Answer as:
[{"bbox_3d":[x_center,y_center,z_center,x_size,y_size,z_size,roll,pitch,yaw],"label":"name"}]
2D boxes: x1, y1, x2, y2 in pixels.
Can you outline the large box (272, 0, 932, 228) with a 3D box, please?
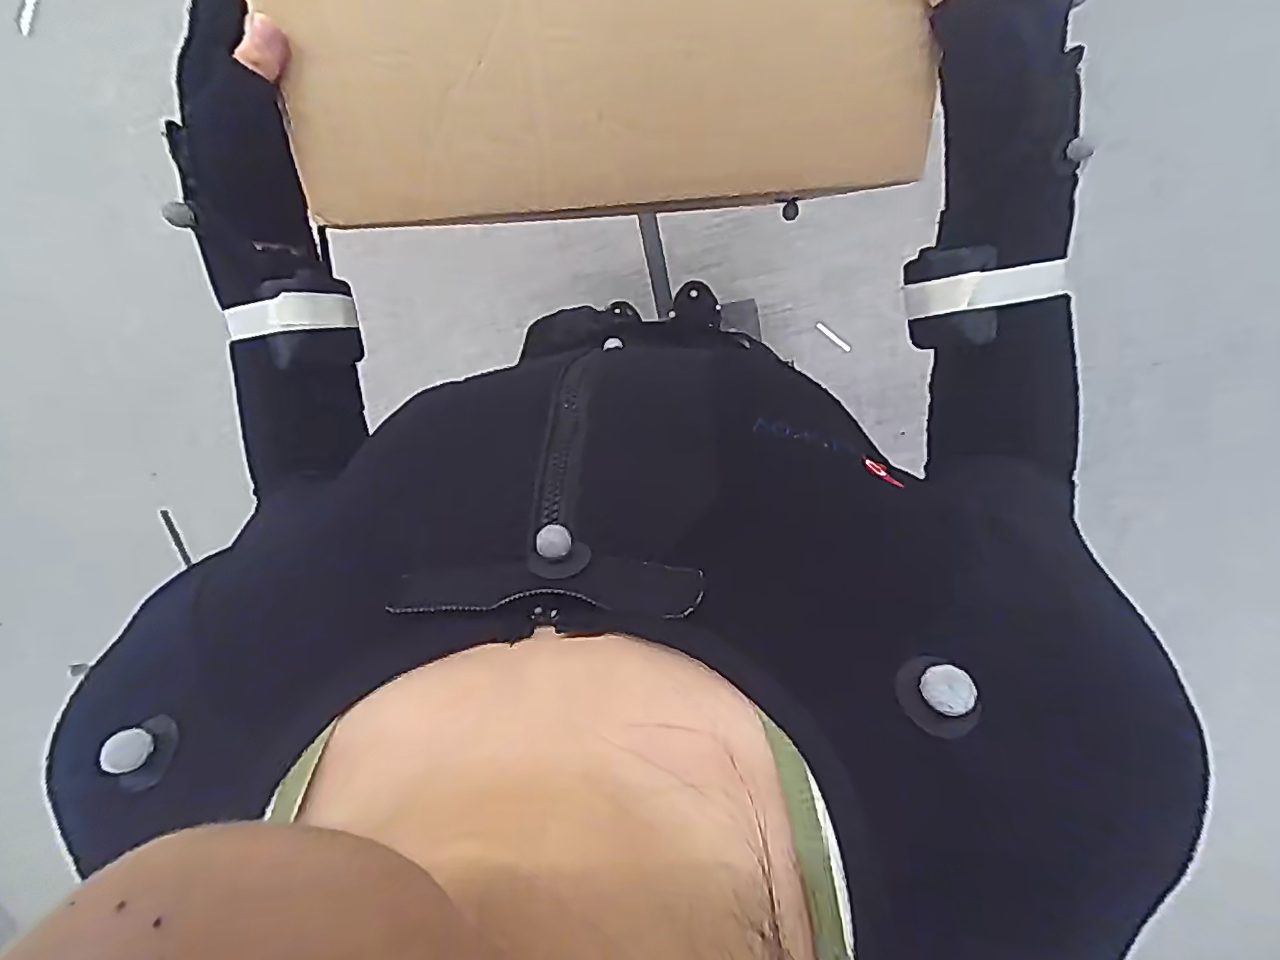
[{"bbox_3d":[-0.020,-0.393,0.438,0.408,0.320,0.320,-2,115,4],"label":"large box"}]
